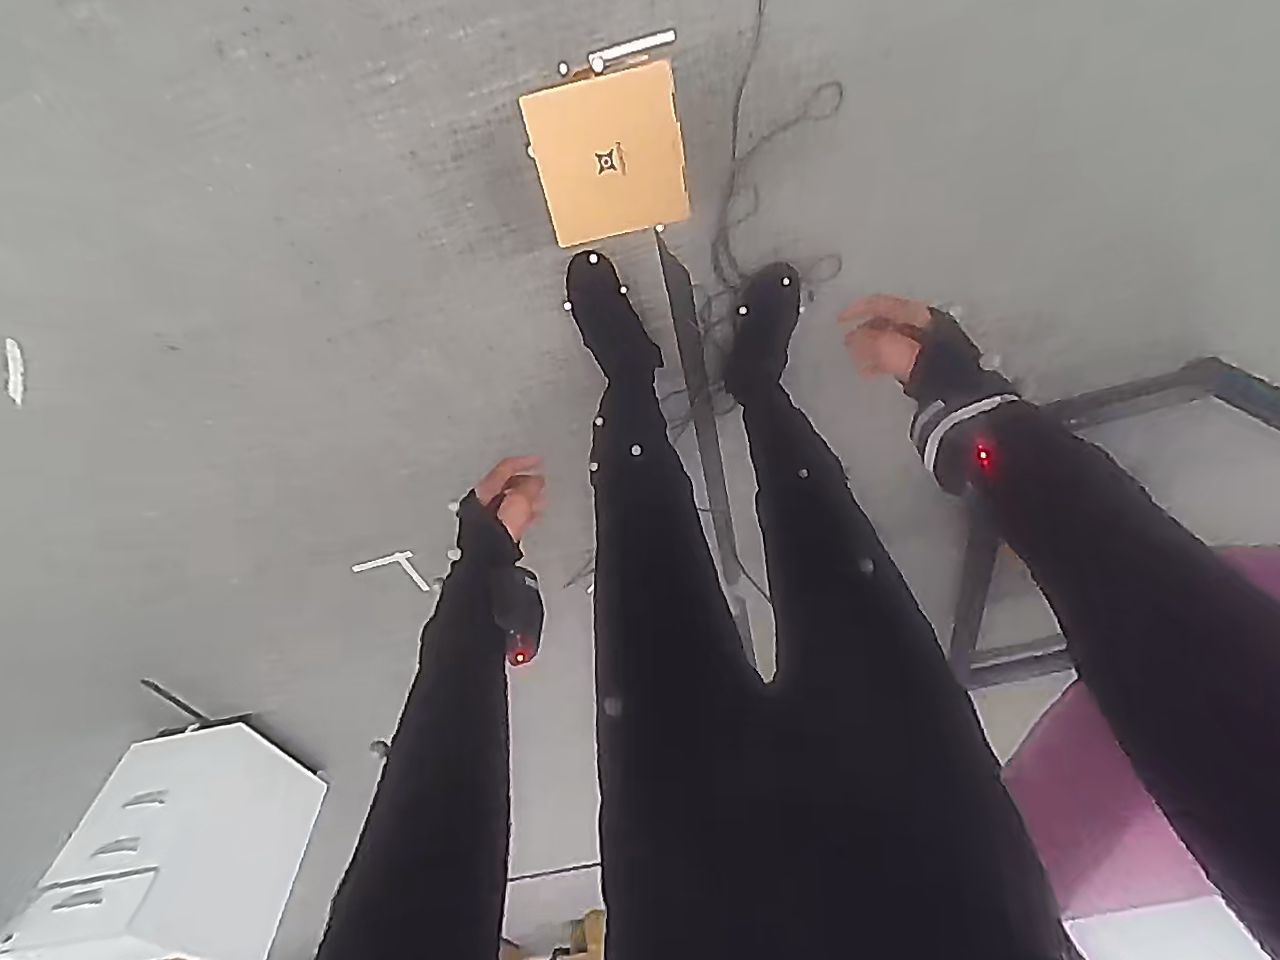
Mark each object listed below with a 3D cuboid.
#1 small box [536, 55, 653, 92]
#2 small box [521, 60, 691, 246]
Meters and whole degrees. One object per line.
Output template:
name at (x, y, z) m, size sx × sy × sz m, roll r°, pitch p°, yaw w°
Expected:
small box at (-0.051, -0.525, 0.833) m, size 0.168 × 0.176 × 0.179 m, roll -13°, pitch 128°, yaw 5°
small box at (-0.038, -0.426, 0.706) m, size 0.179 × 0.176 × 0.168 m, roll -12°, pitch 128°, yaw 4°
